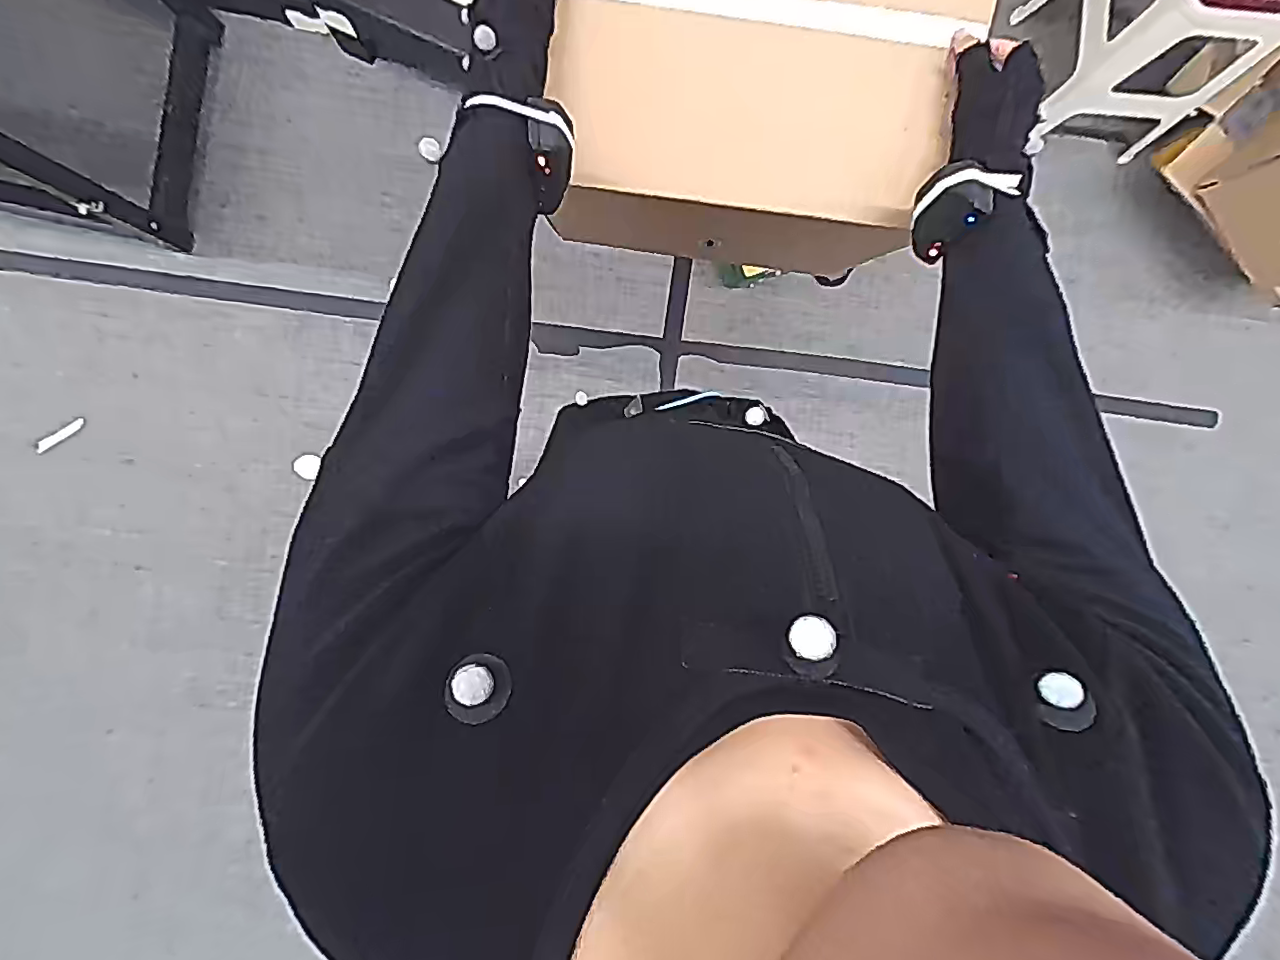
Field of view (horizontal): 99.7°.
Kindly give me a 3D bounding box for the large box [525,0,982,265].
[{"bbox_3d":[0.104,-0.450,0.628,0.408,0.320,0.320,7,103,-2],"label":"large box"}]
